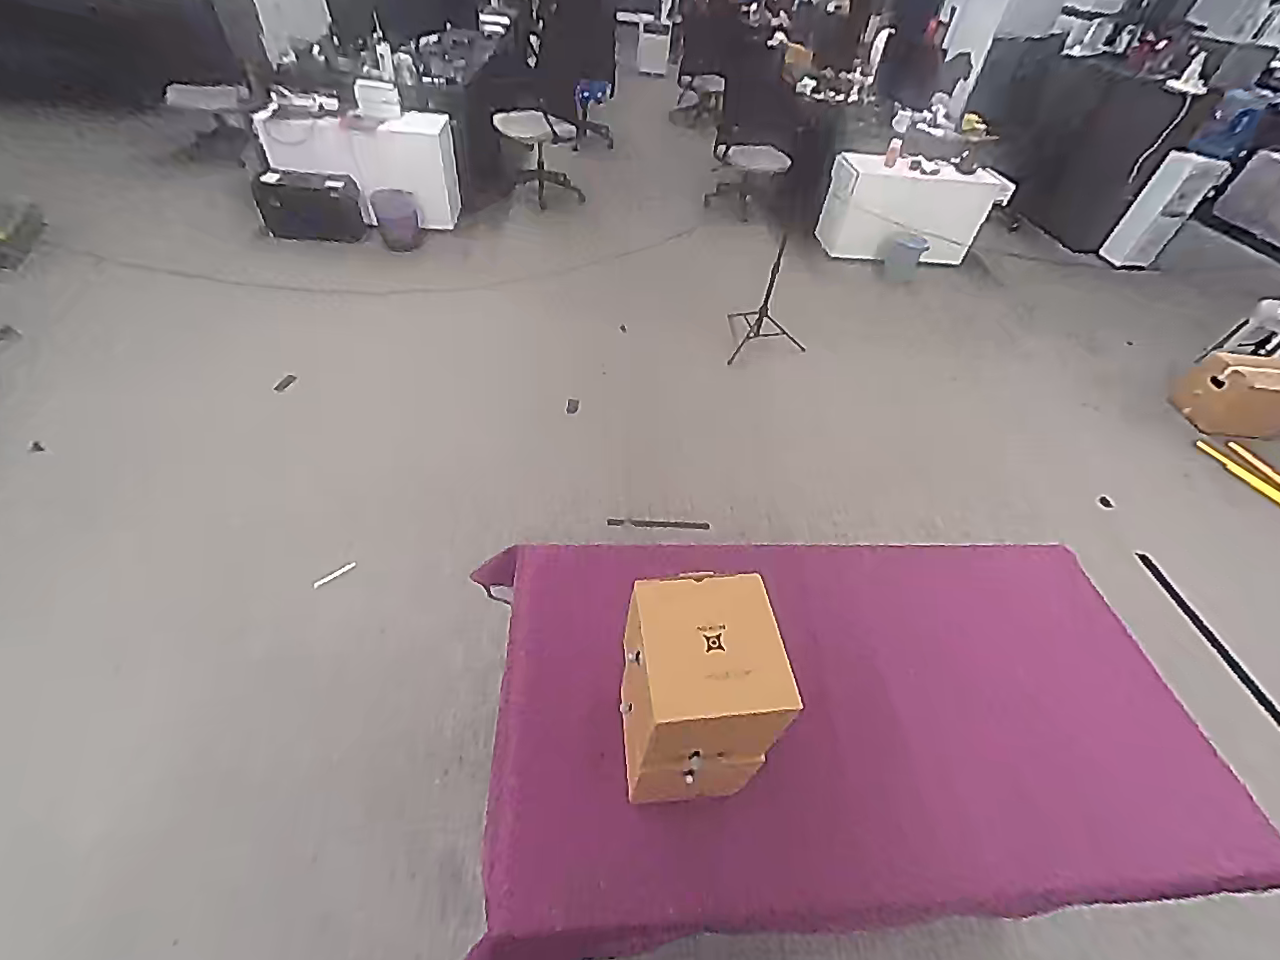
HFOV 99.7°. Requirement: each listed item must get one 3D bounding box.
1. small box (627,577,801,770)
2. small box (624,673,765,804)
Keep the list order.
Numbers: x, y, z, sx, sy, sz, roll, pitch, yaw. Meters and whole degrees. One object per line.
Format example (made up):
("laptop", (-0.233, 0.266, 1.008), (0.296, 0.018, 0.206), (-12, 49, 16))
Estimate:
("small box", (0.077, 0.243, 0.685), (0.168, 0.176, 0.179), (-1, 47, -9))
("small box", (0.067, 0.357, 0.802), (0.168, 0.176, 0.179), (0, 46, -7))
